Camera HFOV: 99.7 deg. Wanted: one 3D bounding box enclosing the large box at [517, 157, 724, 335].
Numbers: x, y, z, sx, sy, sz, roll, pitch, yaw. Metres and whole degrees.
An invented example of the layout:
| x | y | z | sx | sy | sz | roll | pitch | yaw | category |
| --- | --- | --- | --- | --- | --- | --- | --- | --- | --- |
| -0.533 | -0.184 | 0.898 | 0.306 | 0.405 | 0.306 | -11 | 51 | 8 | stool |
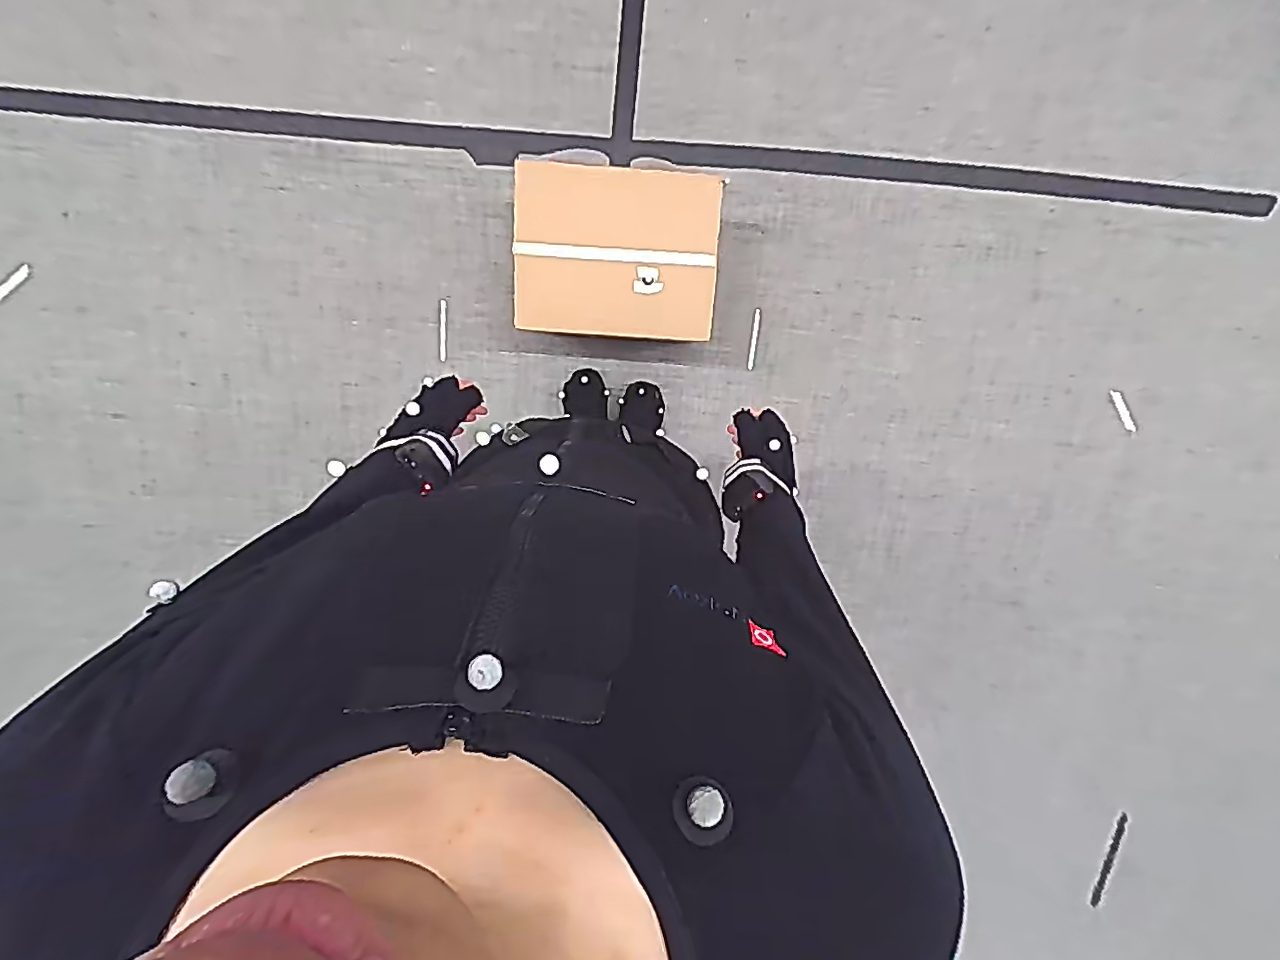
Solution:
| x | y | z | sx | sy | sz | roll | pitch | yaw | category |
| --- | --- | --- | --- | --- | --- | --- | --- | --- | --- |
| -0.047 | -0.494 | 1.213 | 0.408 | 0.320 | 0.320 | 3 | 105 | -2 | large box |
